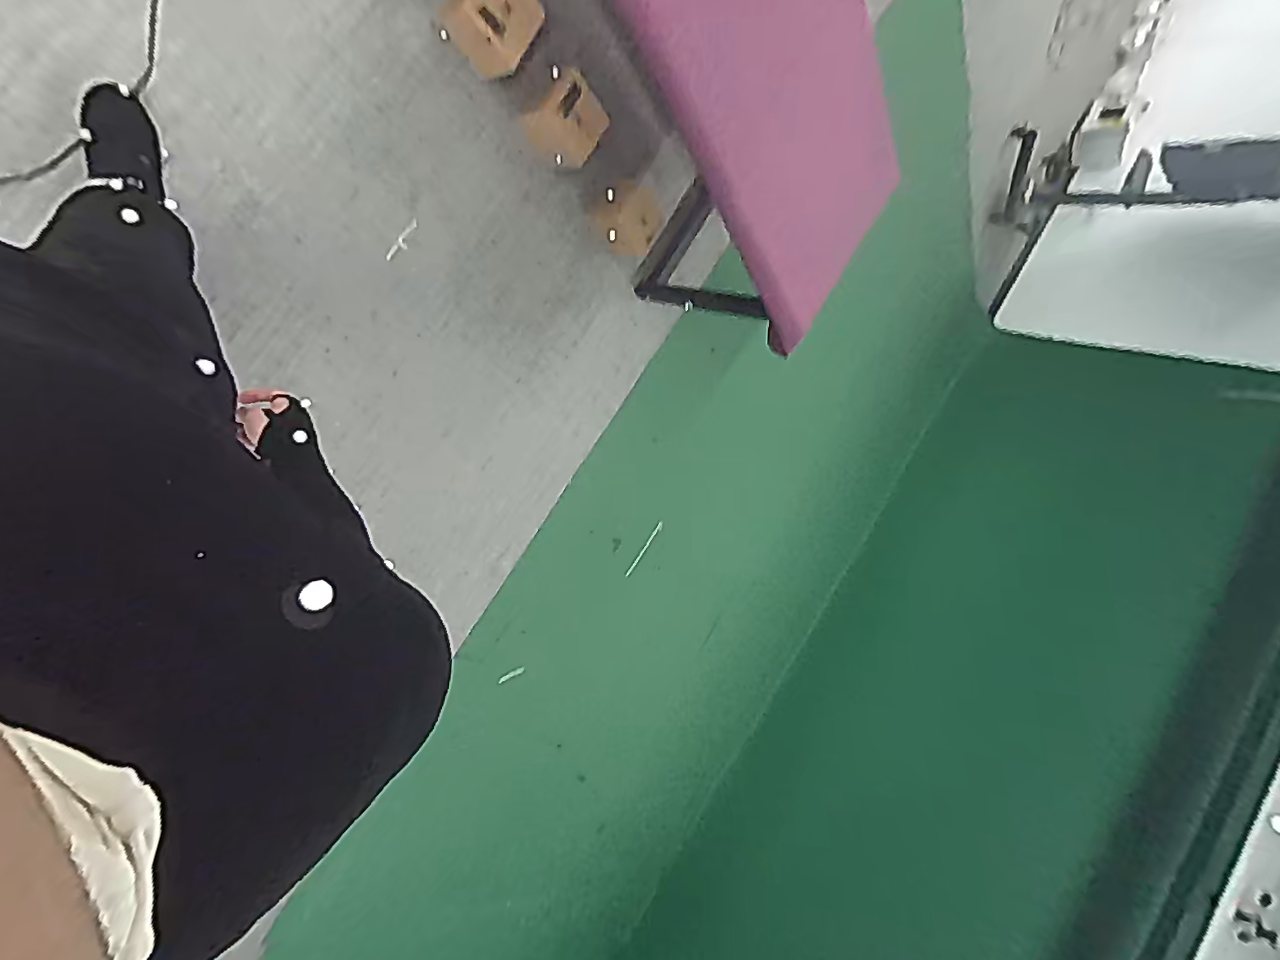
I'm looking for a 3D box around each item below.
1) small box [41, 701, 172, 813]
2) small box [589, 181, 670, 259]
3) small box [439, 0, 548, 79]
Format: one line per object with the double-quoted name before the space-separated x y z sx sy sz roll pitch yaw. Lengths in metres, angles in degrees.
"small box" -1.304 0.679 1.329 0.179 0.176 0.168 -58 139 -7
"small box" -0.039 -0.867 1.812 0.168 0.176 0.179 -55 138 -9
"small box" -0.368 -1.140 1.337 0.168 0.176 0.179 33 85 -49
